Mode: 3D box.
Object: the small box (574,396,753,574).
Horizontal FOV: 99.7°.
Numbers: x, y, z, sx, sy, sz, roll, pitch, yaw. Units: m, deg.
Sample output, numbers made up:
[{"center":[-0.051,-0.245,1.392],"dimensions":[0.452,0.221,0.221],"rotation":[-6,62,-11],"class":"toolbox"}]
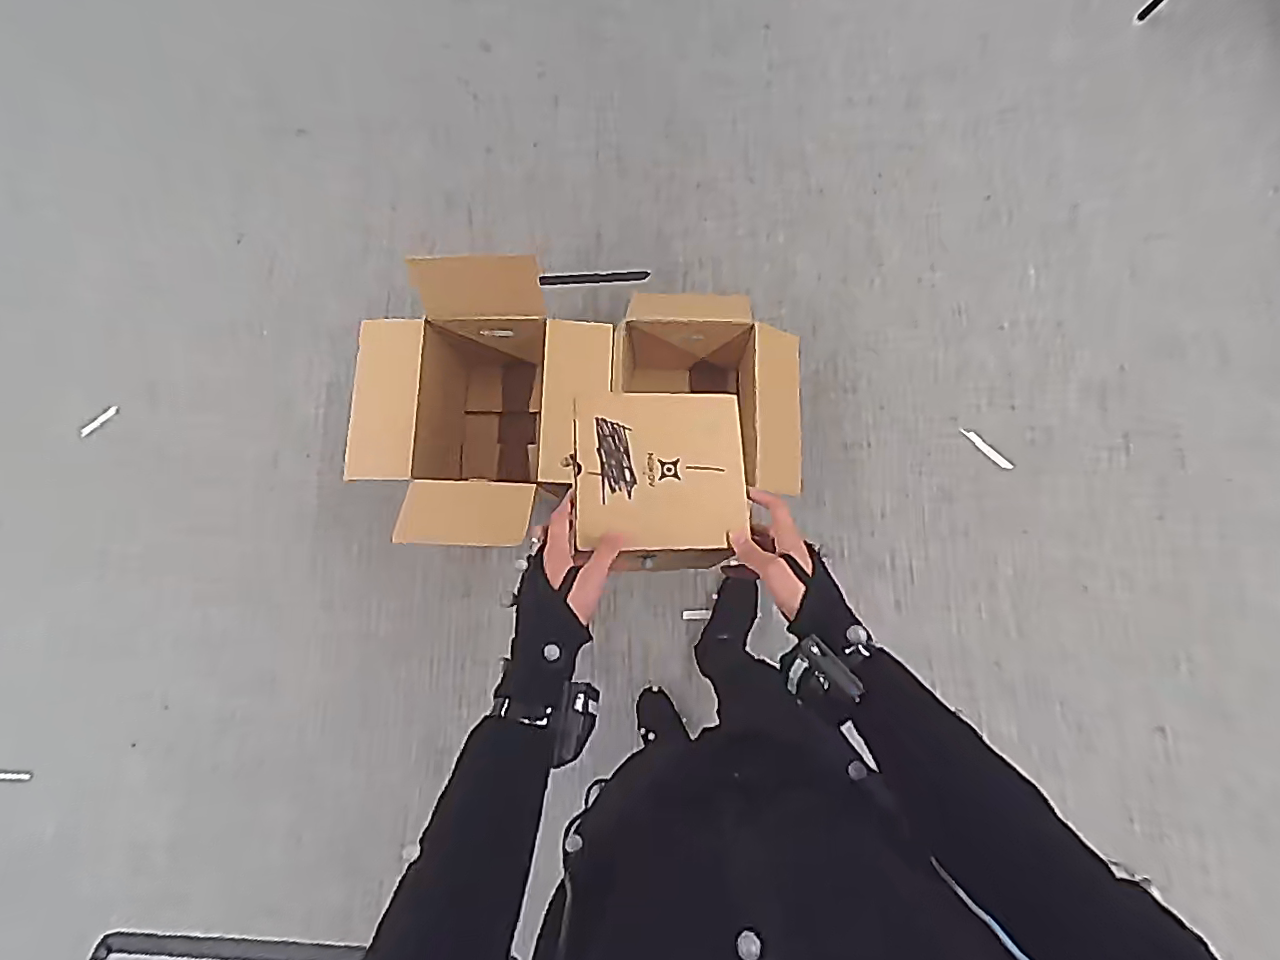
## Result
[{"center":[0.013,0.015,0.616],"dimensions":[0.179,0.176,0.168],"rotation":[0,74,-8],"class":"small box"}]
